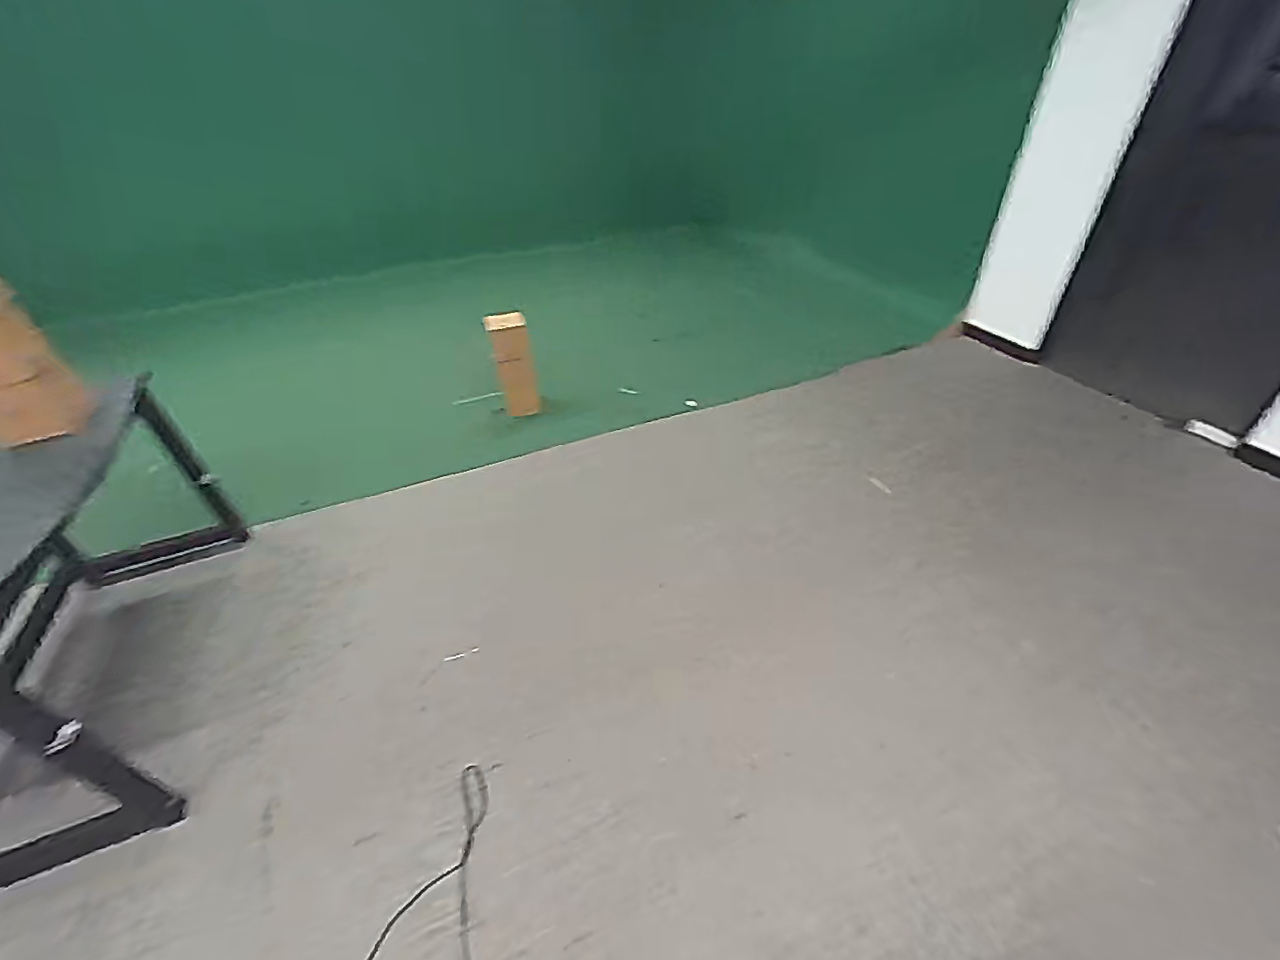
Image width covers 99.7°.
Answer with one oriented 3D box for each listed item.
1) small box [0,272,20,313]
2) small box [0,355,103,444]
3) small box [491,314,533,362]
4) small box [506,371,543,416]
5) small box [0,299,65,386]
[{"bbox_3d":[-1.703,-0.479,1.314,0.179,0.176,0.168,-23,45,-18],"label":"small box"},{"bbox_3d":[-1.688,-0.227,1.522,0.179,0.176,0.168,-18,42,-13],"label":"small box"},{"bbox_3d":[-0.632,-0.700,2.661,0.168,0.176,0.179,-13,39,-13],"label":"small box"},{"bbox_3d":[-0.614,-0.453,2.878,0.168,0.176,0.179,-11,40,-9],"label":"small box"},{"bbox_3d":[-1.697,-0.351,1.418,0.179,0.176,0.168,-20,44,-17],"label":"small box"}]
